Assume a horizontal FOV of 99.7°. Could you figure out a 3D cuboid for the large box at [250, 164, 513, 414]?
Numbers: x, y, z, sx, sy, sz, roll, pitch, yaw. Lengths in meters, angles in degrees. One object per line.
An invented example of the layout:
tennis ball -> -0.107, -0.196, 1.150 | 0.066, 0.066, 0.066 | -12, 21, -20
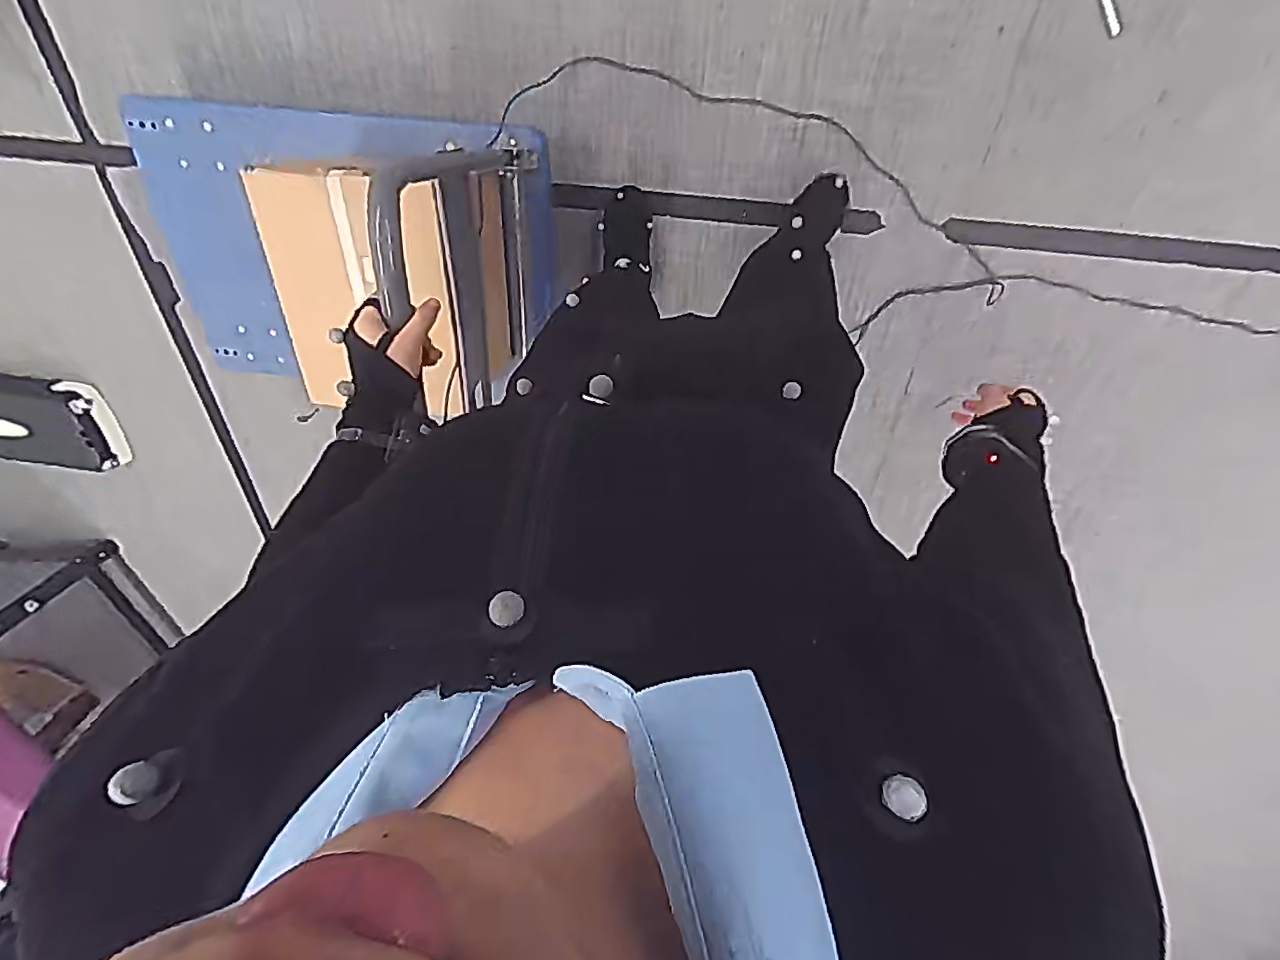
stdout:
large box -> -0.461, -0.384, 1.076 | 0.320, 0.320, 0.408 | 5, 122, 3
